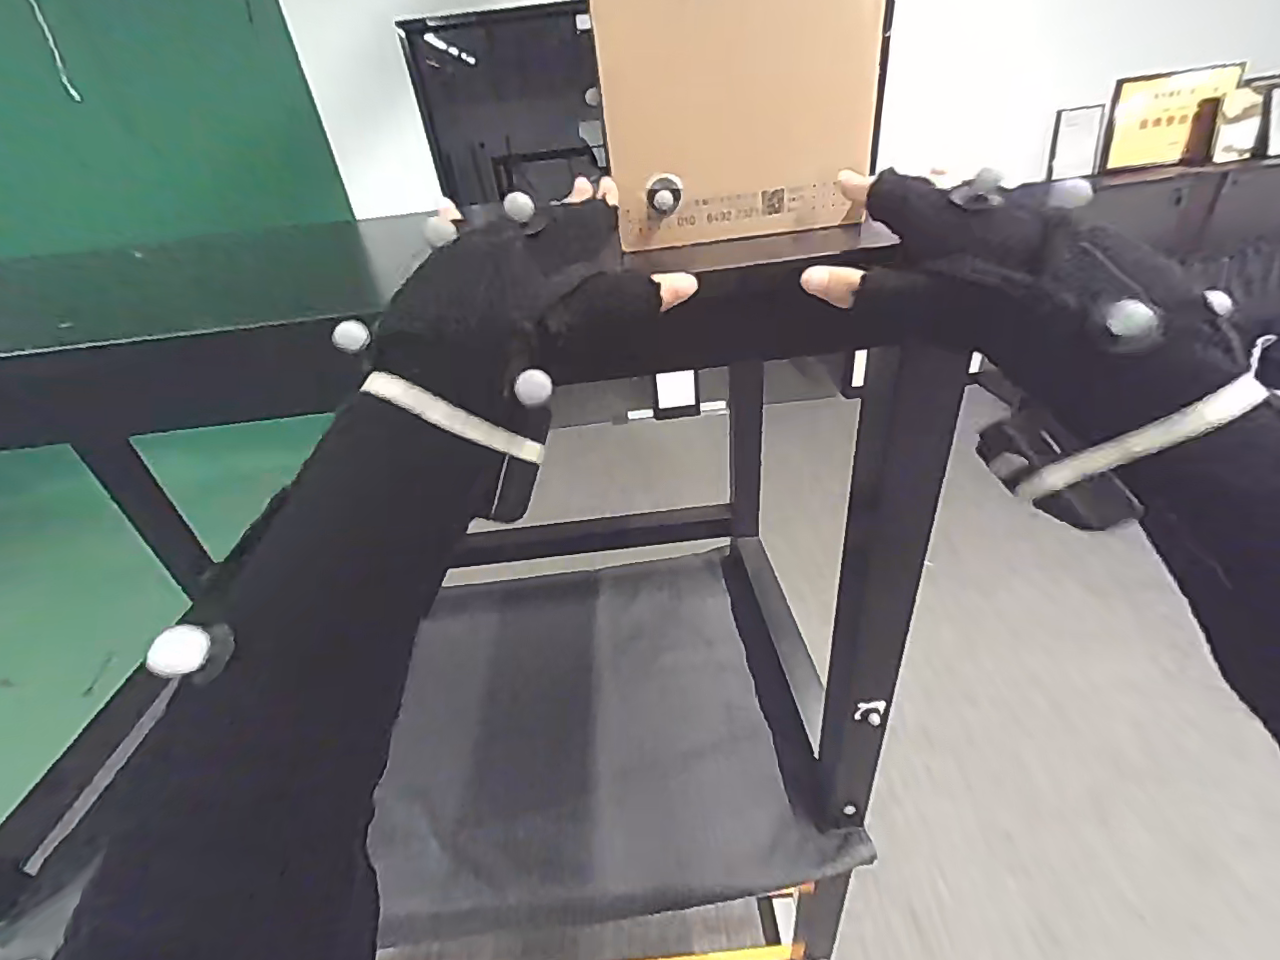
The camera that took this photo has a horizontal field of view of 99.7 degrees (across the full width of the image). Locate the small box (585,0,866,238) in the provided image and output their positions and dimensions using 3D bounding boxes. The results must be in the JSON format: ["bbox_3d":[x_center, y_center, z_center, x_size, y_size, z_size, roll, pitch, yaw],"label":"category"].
[{"bbox_3d":[0.057,-0.283,0.397,0.168,0.176,0.179,-5,31,3],"label":"small box"}]
